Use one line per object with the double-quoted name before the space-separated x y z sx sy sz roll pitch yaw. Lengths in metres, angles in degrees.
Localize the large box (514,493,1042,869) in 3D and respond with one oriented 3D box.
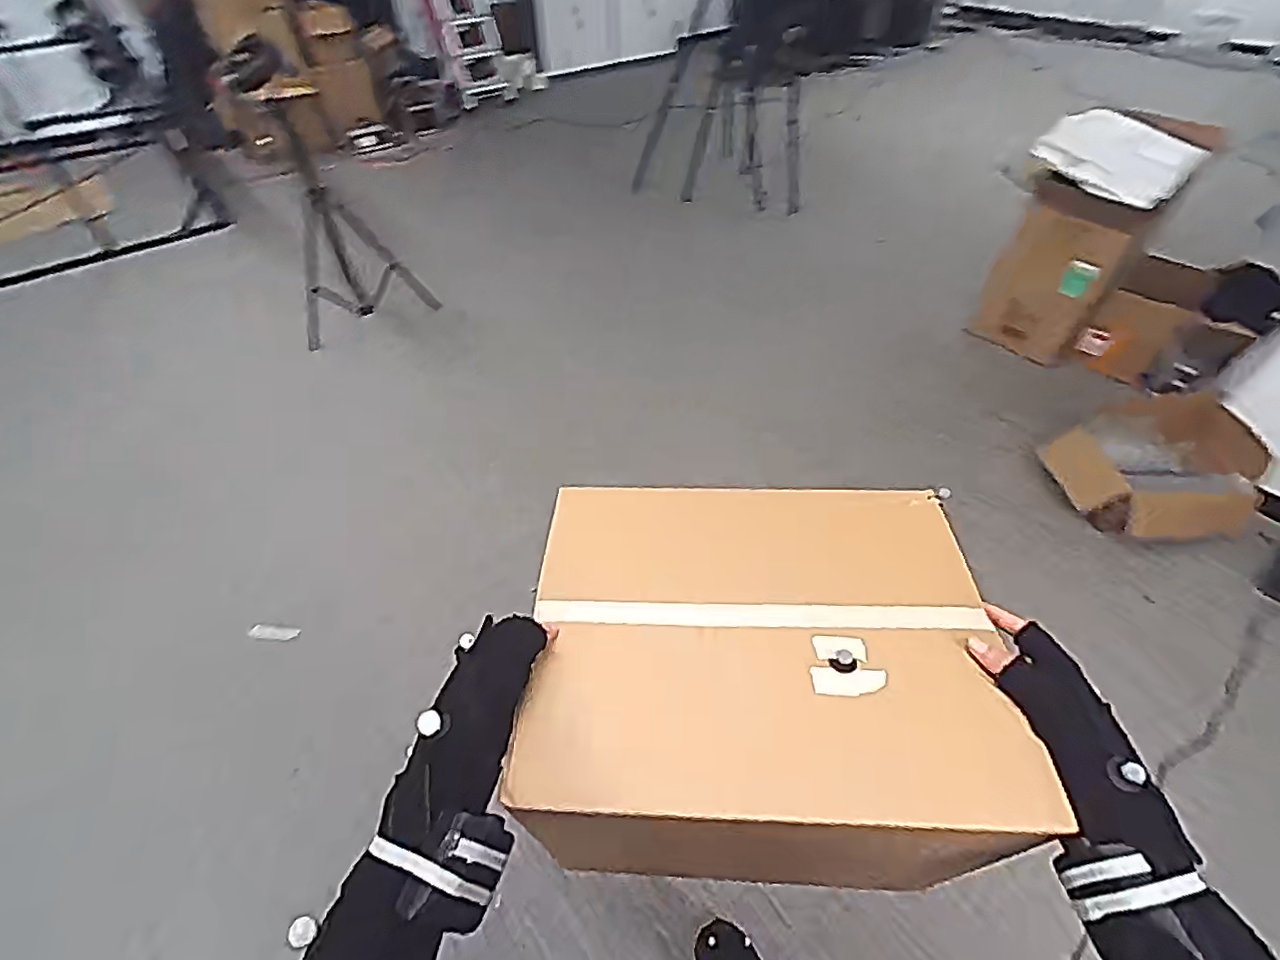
"large box" 0.106 0.230 0.612 0.408 0.320 0.320 0 48 3
